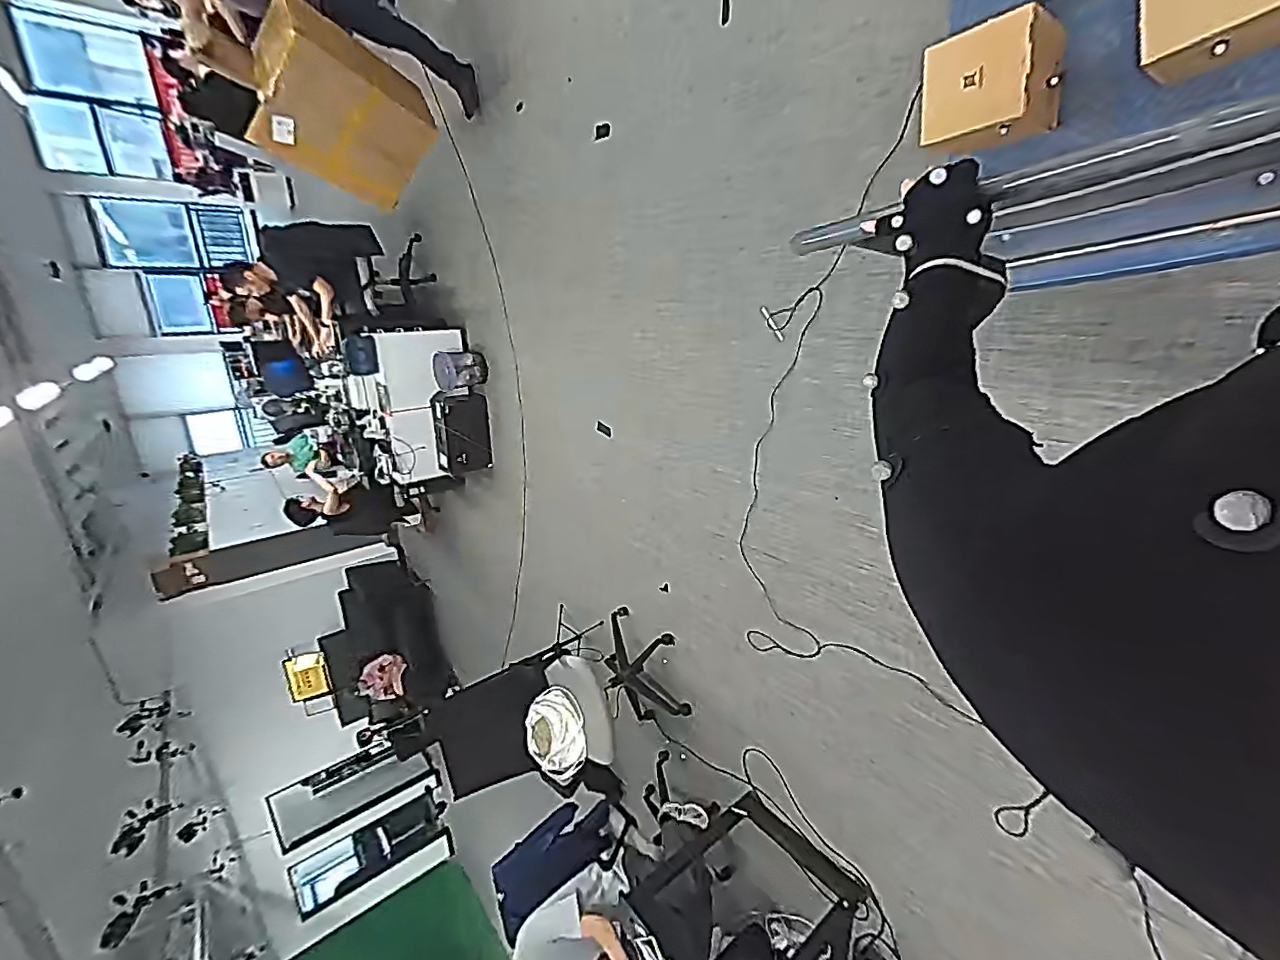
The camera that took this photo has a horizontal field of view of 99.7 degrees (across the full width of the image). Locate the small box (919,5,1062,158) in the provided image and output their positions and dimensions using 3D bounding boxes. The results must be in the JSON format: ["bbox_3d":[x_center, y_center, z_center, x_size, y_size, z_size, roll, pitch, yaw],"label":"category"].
[{"bbox_3d":[0.653,-0.726,1.012,0.179,0.176,0.168,12,111,49],"label":"small box"}]

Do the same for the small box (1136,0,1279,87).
[{"bbox_3d":[0.844,-0.703,0.770,0.179,0.176,0.168,3,105,52],"label":"small box"}]
